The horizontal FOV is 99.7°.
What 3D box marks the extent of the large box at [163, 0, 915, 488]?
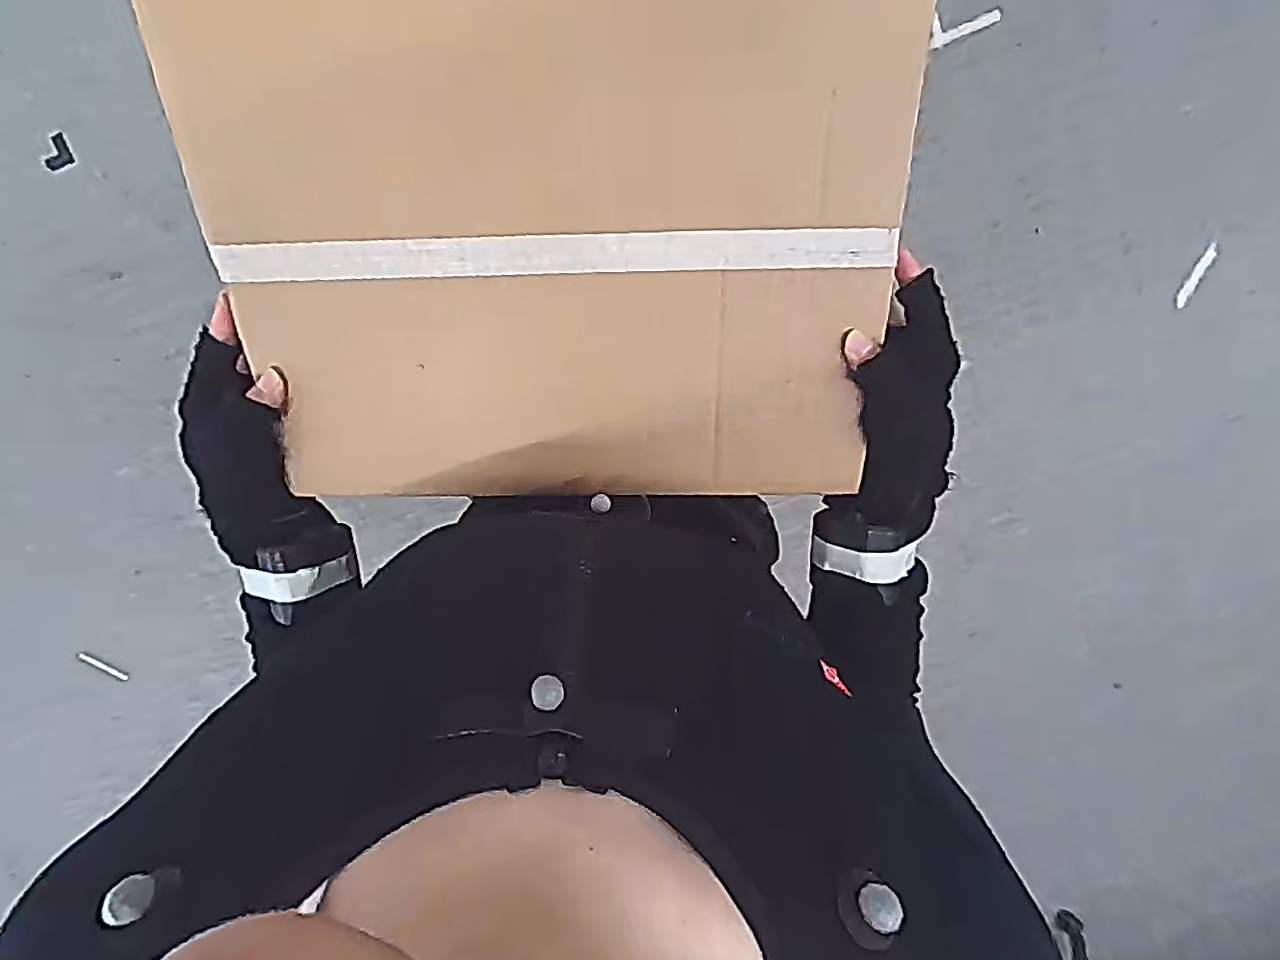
[{"bbox_3d":[-0.050,-0.198,0.468,0.408,0.320,0.320,-1,115,2],"label":"large box"}]
